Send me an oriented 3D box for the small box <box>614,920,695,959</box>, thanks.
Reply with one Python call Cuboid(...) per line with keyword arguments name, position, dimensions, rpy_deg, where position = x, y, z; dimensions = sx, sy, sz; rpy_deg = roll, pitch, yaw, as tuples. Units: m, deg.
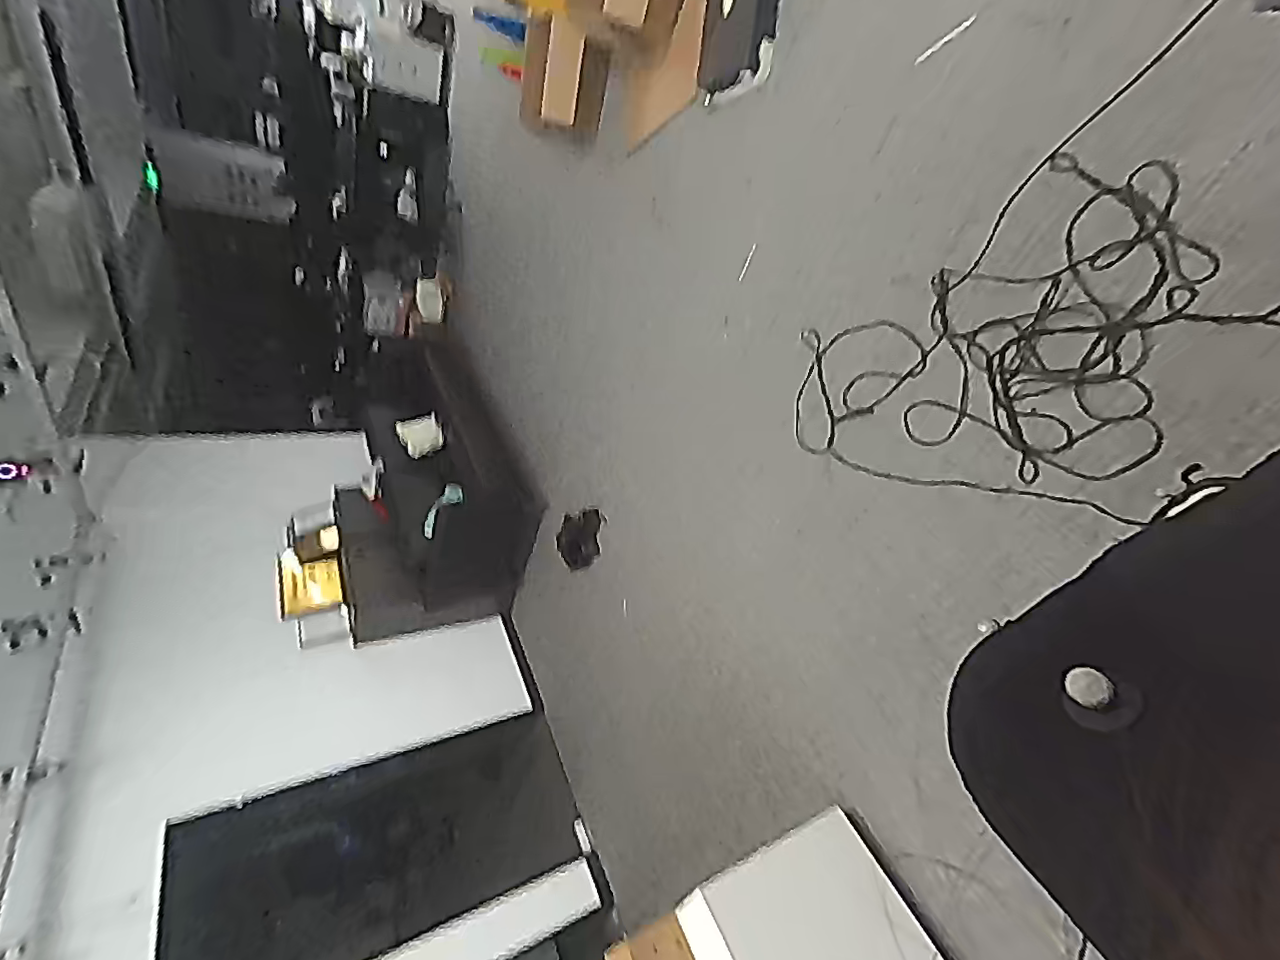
Cuboid(name="small box", position=(0.046, 1.301, 1.415), dimensions=(0.168, 0.176, 0.179), rpy_deg=(57, 138, 38))
